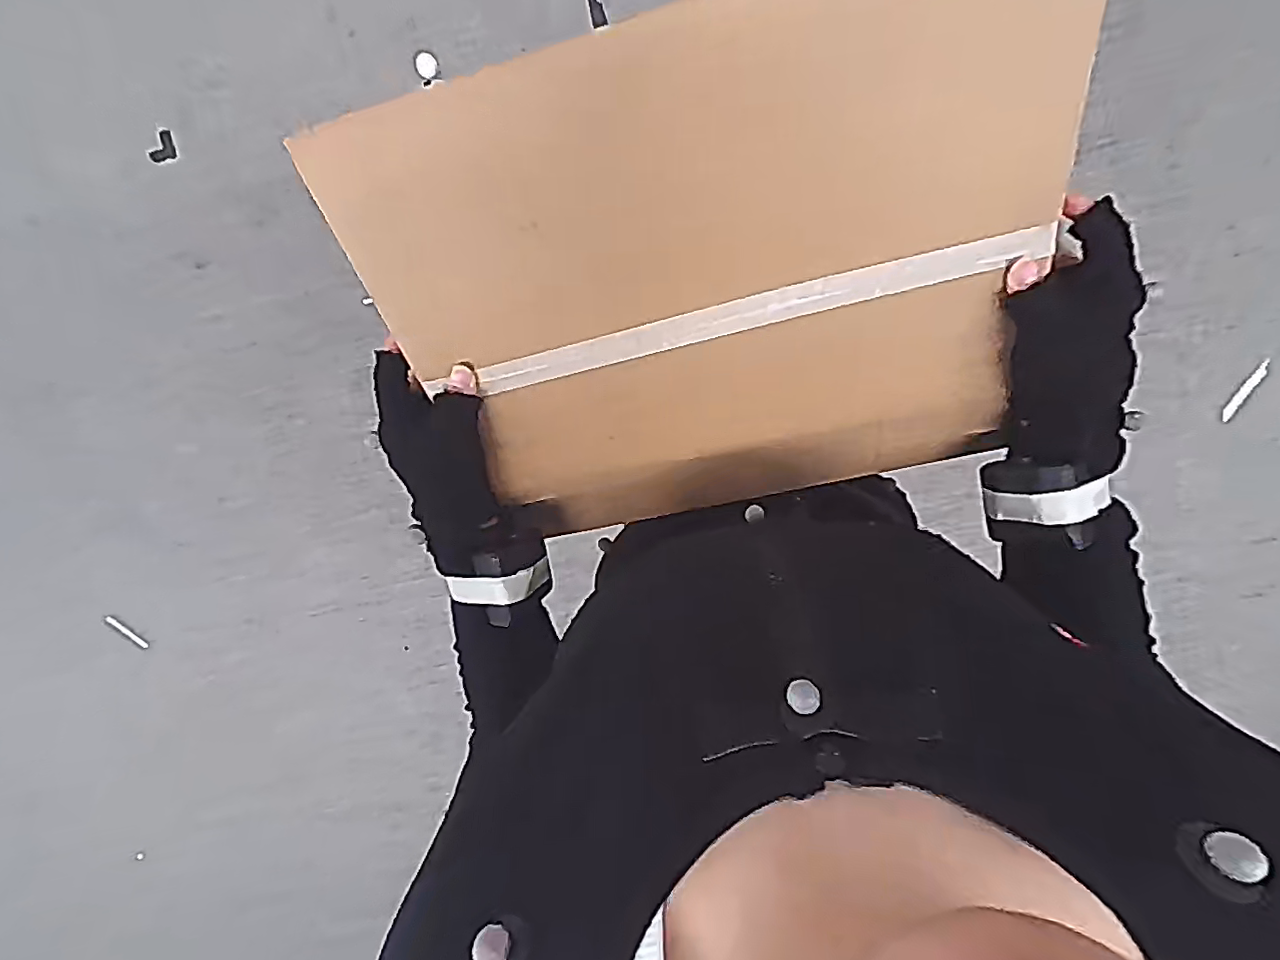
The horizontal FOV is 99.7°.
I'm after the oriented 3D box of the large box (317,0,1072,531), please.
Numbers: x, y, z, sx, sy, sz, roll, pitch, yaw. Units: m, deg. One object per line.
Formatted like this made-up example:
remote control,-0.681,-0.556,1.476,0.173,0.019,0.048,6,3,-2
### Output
large box,0.043,-0.202,0.475,0.408,0.320,0.320,-12,129,8
